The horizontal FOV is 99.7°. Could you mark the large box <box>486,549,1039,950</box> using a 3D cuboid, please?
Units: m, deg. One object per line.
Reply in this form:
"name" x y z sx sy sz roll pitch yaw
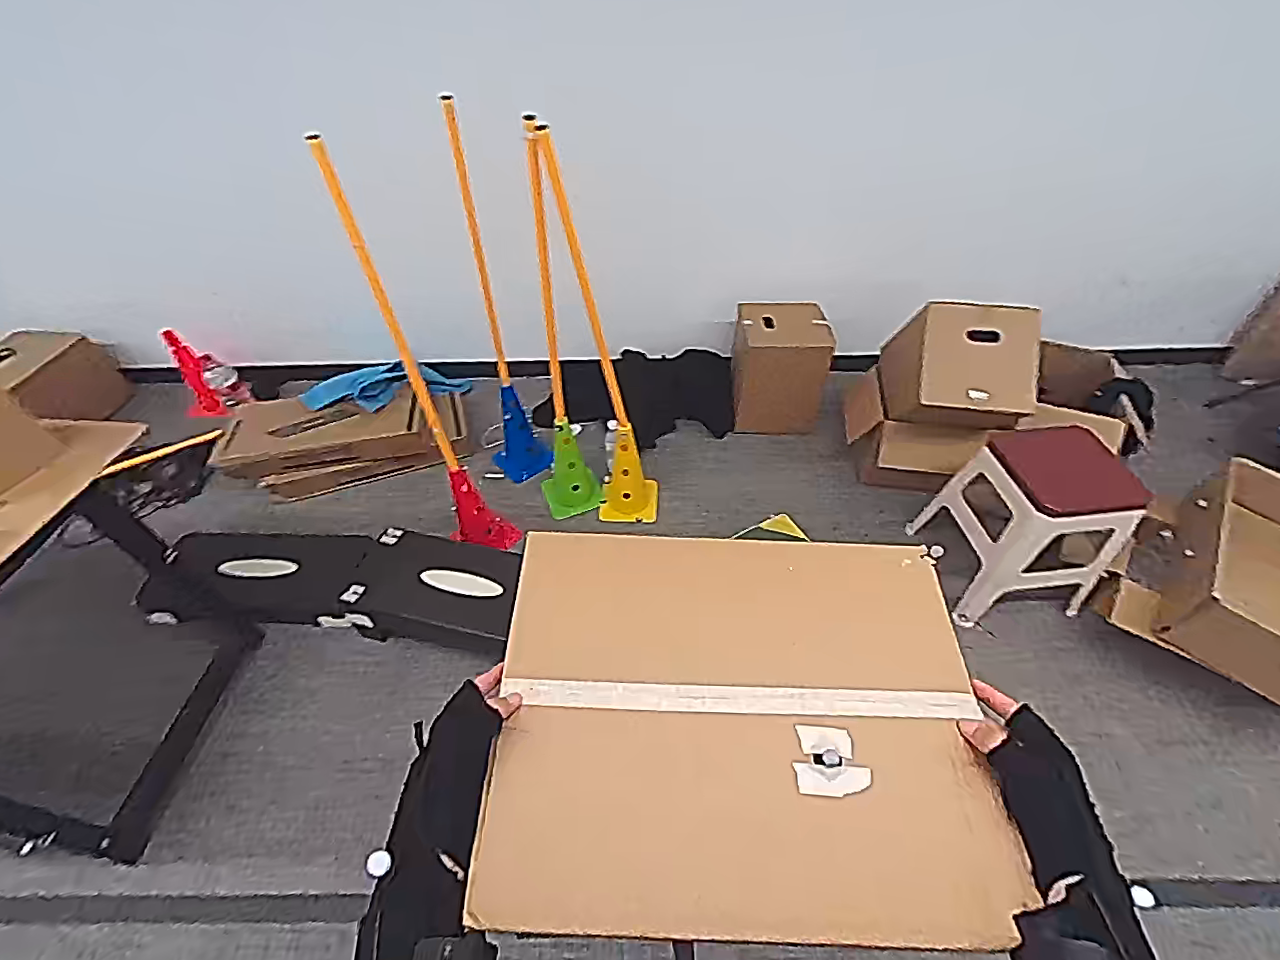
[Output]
"large box" 0.086 0.289 0.587 0.408 0.320 0.320 2 55 0
